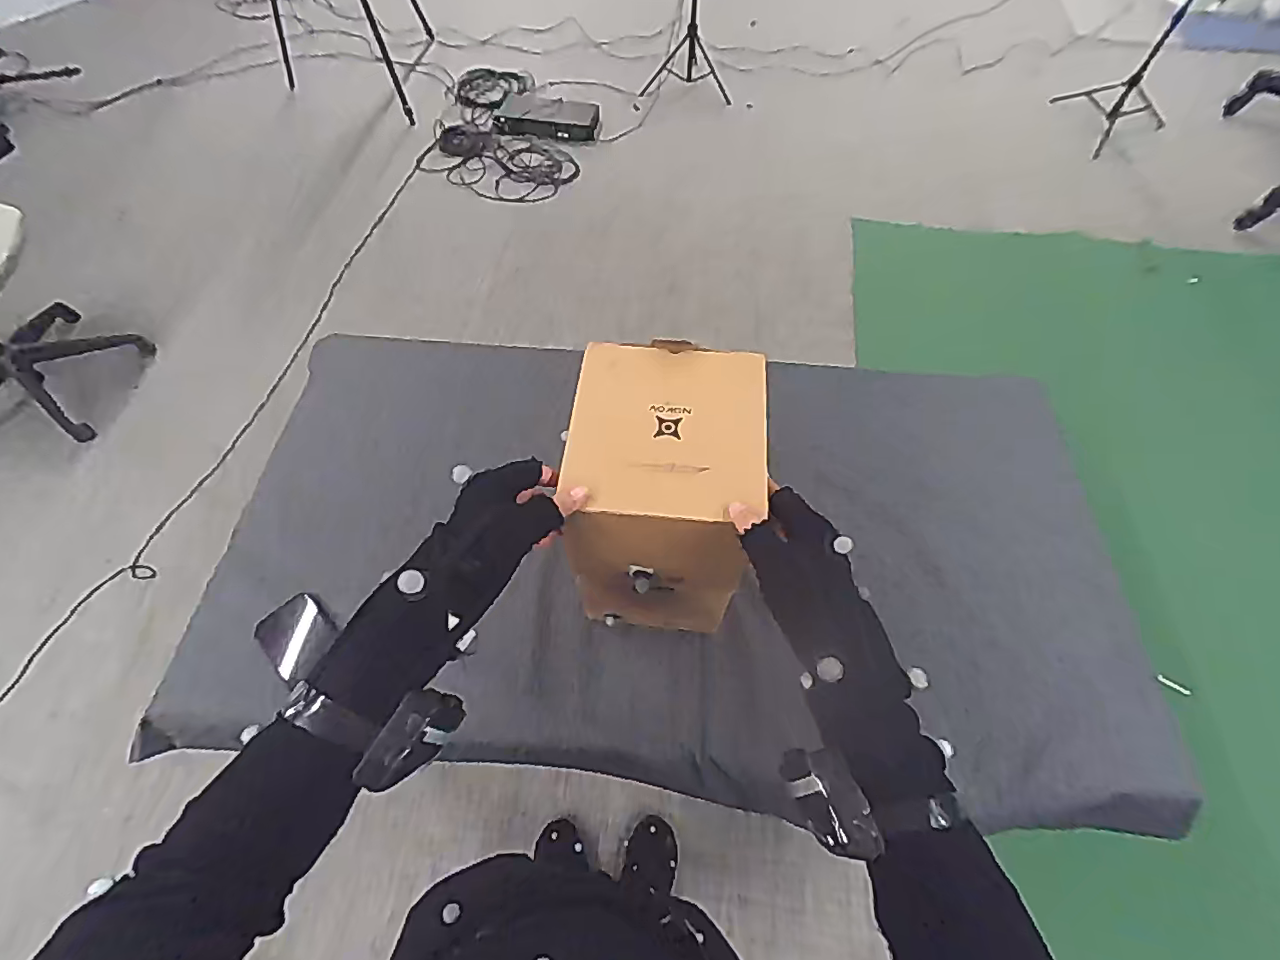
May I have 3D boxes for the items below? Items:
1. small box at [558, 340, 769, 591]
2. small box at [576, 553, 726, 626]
[{"bbox_3d":[0.026,-0.008,0.522,0.168,0.176,0.179,4,62,4],"label":"small box"},{"bbox_3d":[0.025,0.068,0.665,0.168,0.176,0.179,6,59,3],"label":"small box"}]
